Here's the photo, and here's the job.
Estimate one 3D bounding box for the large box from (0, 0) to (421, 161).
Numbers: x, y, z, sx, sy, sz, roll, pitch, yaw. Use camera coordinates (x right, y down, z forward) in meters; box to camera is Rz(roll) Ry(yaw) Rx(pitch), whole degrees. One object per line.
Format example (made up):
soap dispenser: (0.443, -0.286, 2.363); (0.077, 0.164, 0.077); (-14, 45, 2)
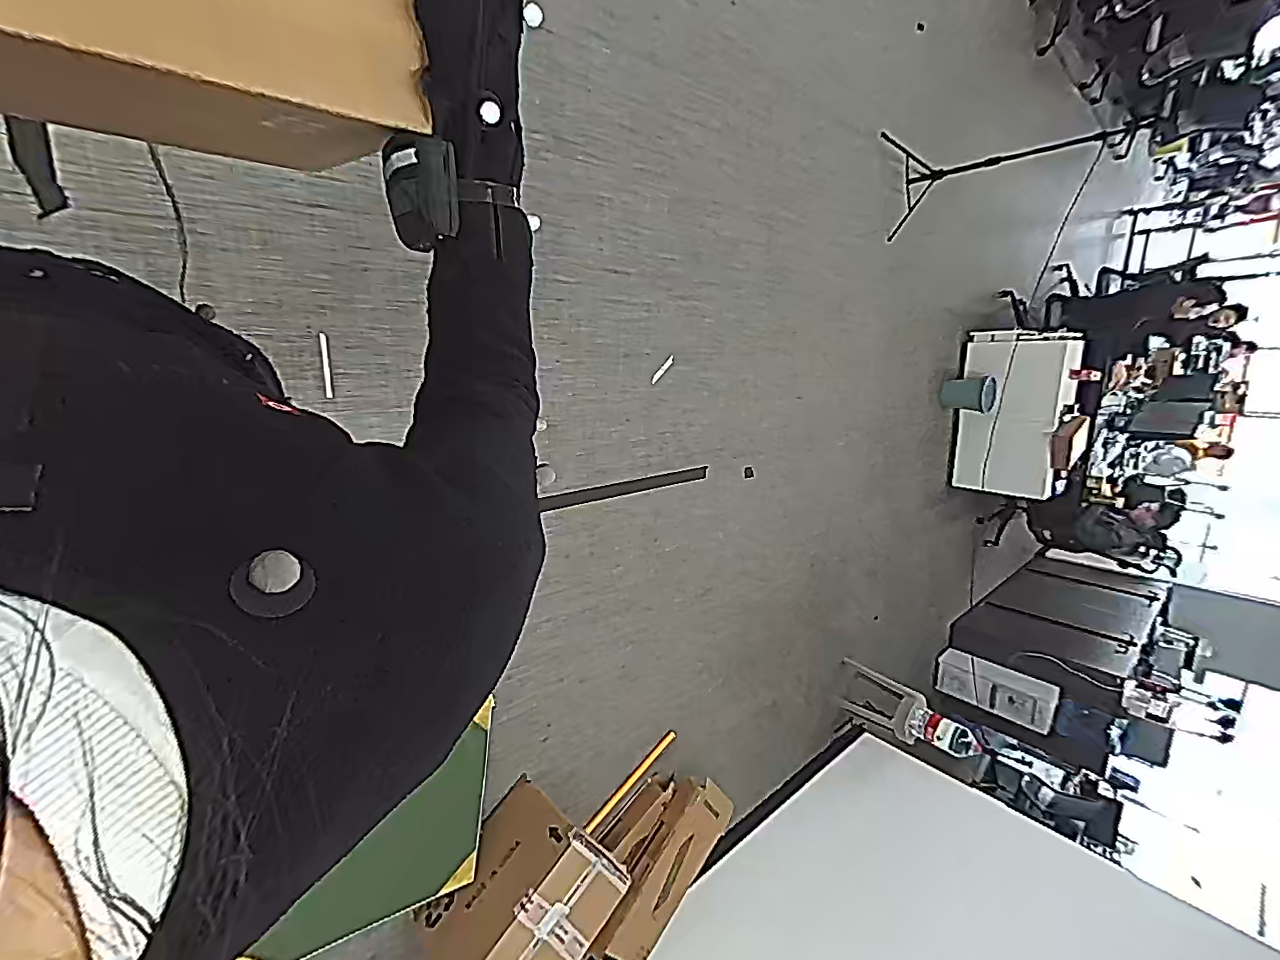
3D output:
large box: (-0.385, -0.395, 0.292); (0.408, 0.320, 0.320); (-13, 118, -41)
